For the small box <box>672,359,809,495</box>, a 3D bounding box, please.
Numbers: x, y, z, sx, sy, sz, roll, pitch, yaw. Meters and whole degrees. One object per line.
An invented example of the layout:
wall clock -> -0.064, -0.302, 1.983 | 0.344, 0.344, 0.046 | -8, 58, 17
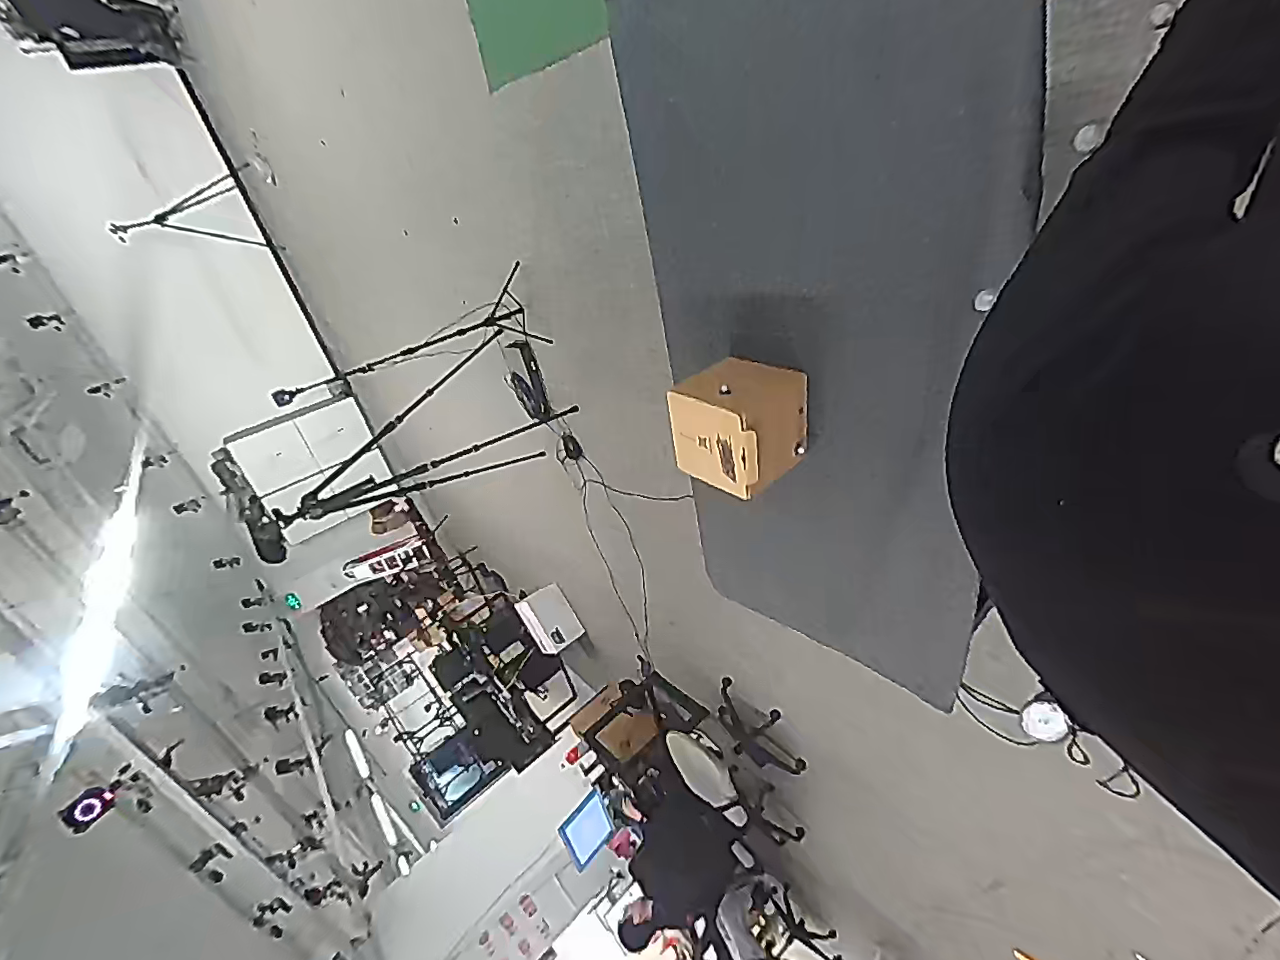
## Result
small box -> 0.186, -0.103, 0.968 | 0.179, 0.176, 0.168 | 27, 138, 44
